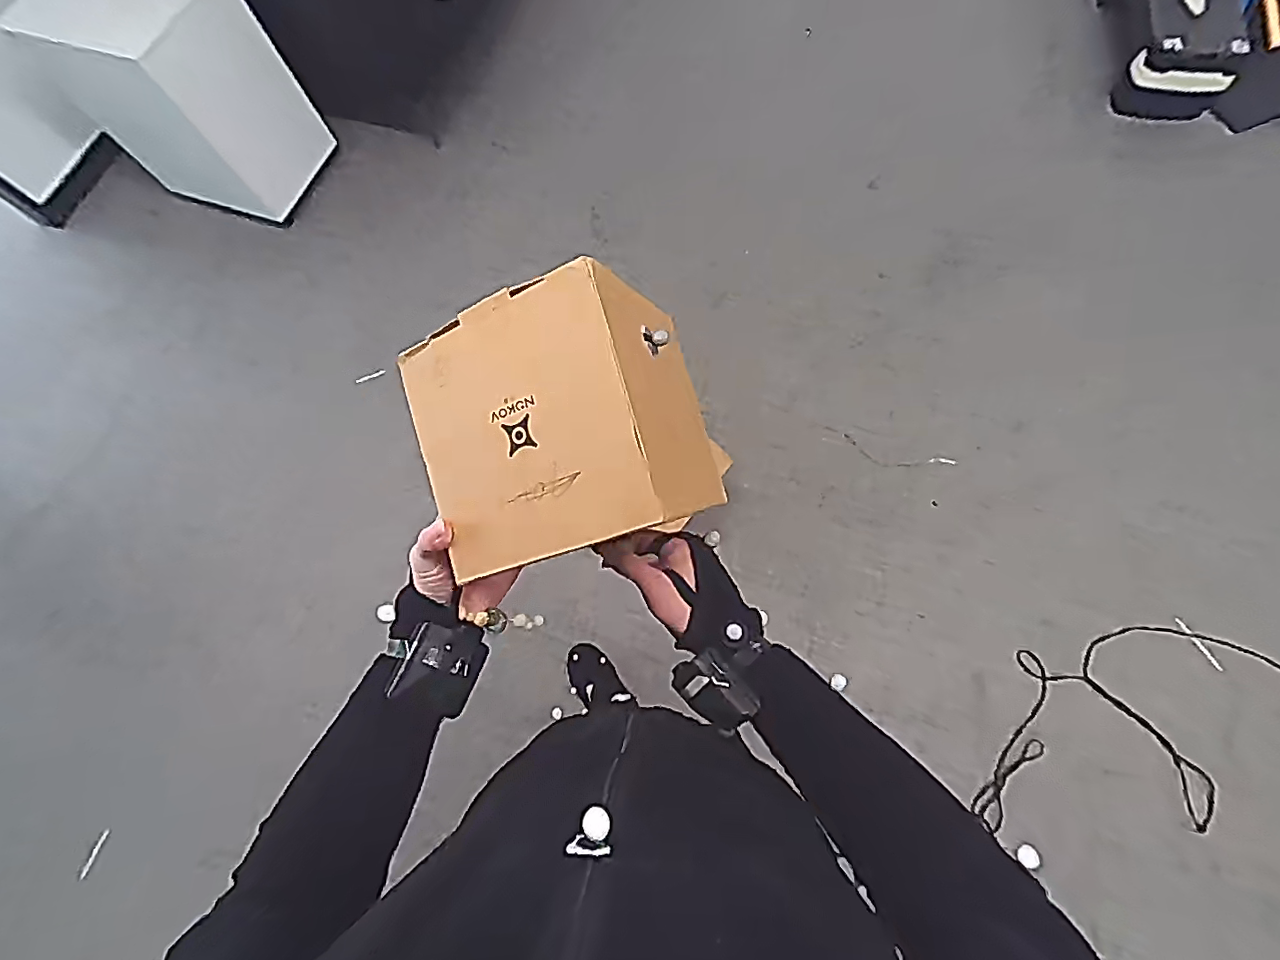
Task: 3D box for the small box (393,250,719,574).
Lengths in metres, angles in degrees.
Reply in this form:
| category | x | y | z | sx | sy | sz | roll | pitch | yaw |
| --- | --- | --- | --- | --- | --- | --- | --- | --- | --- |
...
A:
| category | x | y | z | sx | sy | sz | roll | pitch | yaw |
| --- | --- | --- | --- | --- | --- | --- | --- | --- | --- |
| small box | -0.053 | -0.037 | 0.421 | 0.168 | 0.176 | 0.179 | -17 | 84 | 24 |
